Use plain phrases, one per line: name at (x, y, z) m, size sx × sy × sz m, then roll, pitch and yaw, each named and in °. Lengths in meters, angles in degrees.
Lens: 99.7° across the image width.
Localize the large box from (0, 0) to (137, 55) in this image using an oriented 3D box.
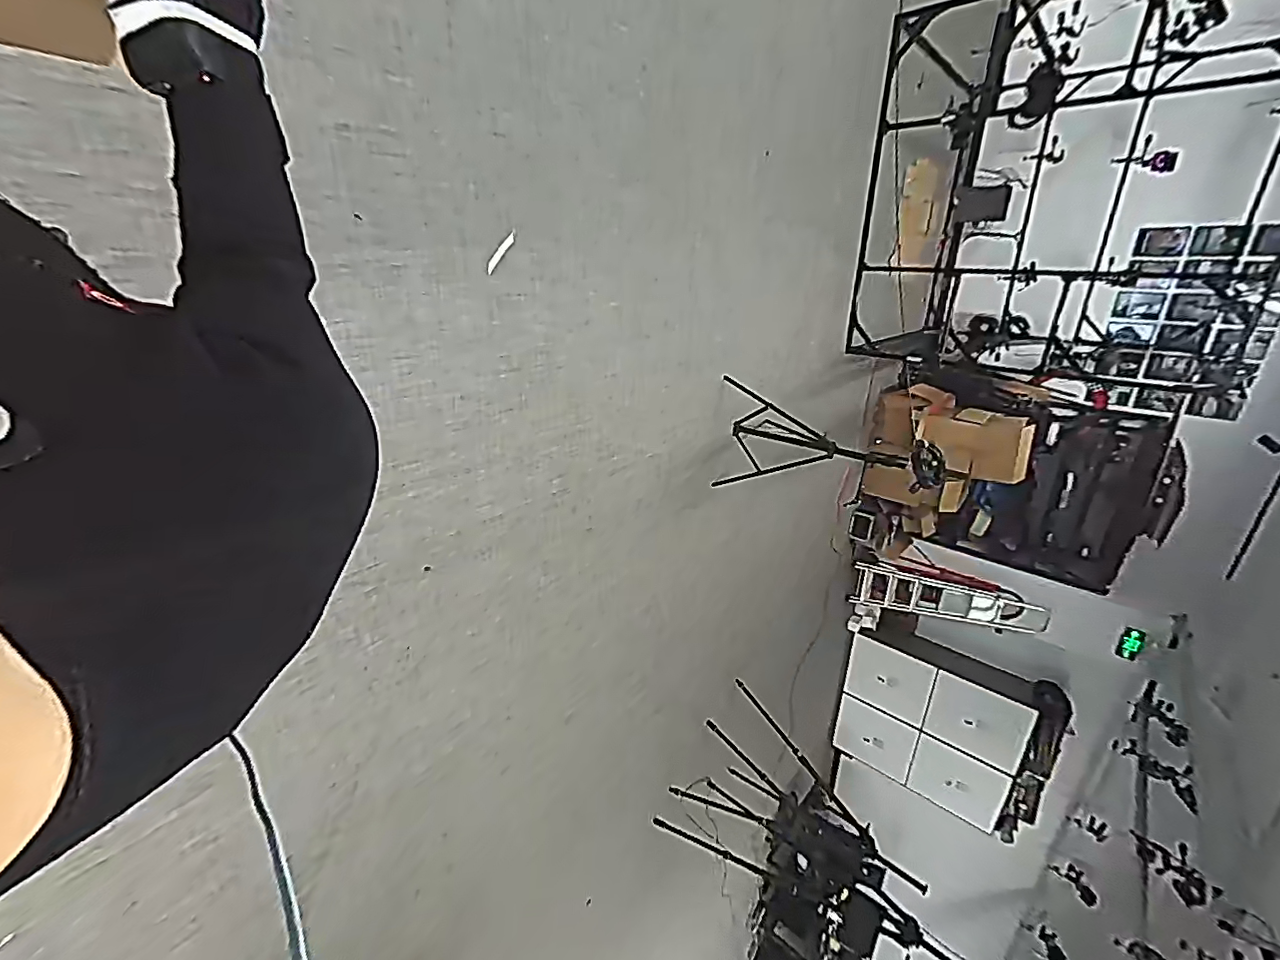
large box at (-0.563, -0.477, 0.266) m, size 0.408 × 0.320 × 0.320 m, roll -20°, pitch 122°, yaw -45°
